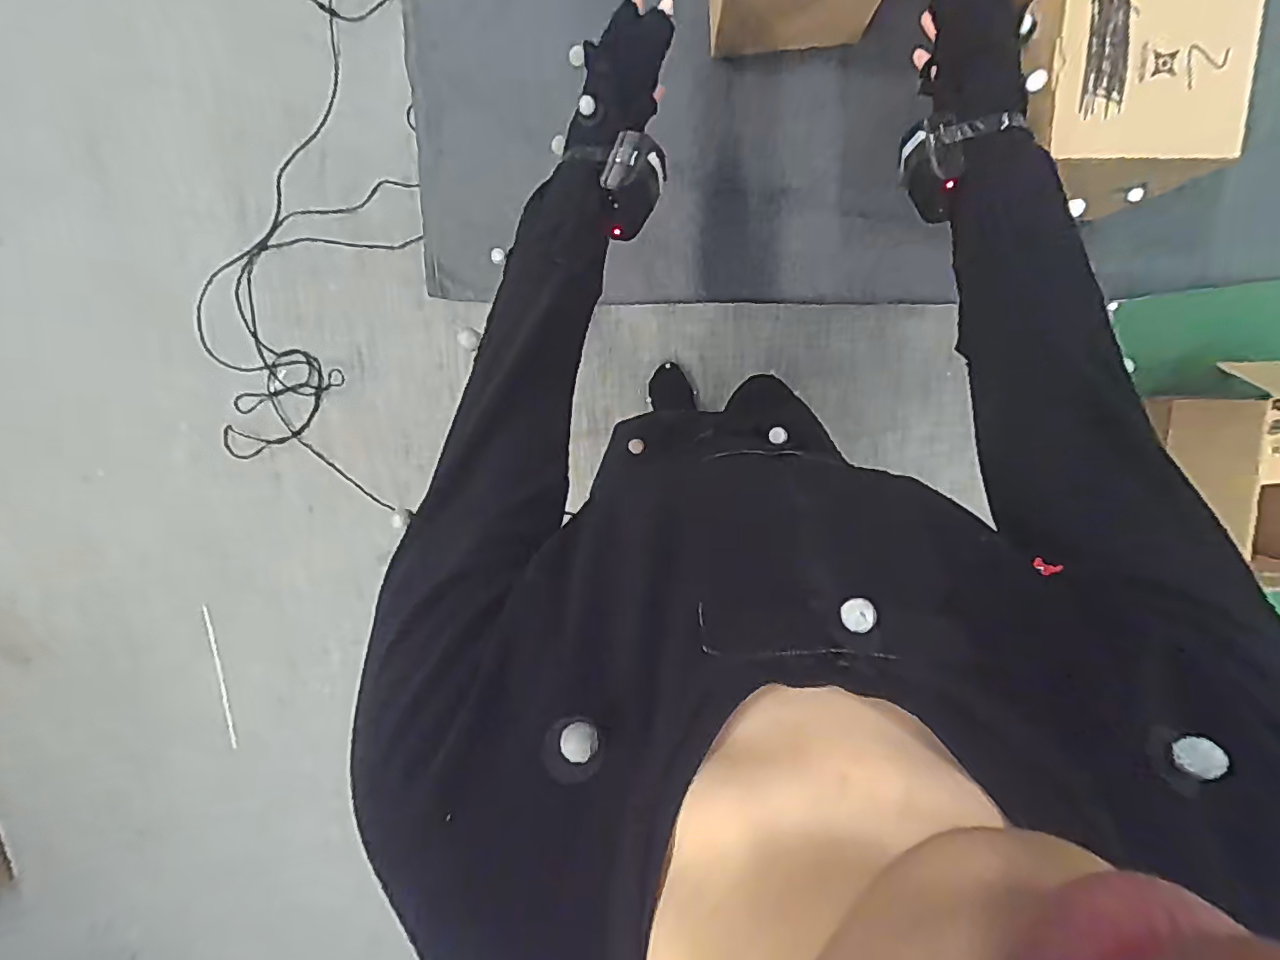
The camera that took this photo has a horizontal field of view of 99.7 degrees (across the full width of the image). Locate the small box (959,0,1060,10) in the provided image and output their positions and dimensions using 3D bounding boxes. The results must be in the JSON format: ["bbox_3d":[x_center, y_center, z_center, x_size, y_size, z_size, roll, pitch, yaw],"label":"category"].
[{"bbox_3d":[0.443,-0.610,0.526,0.179,0.176,0.168,-4,100,5],"label":"small box"}]
